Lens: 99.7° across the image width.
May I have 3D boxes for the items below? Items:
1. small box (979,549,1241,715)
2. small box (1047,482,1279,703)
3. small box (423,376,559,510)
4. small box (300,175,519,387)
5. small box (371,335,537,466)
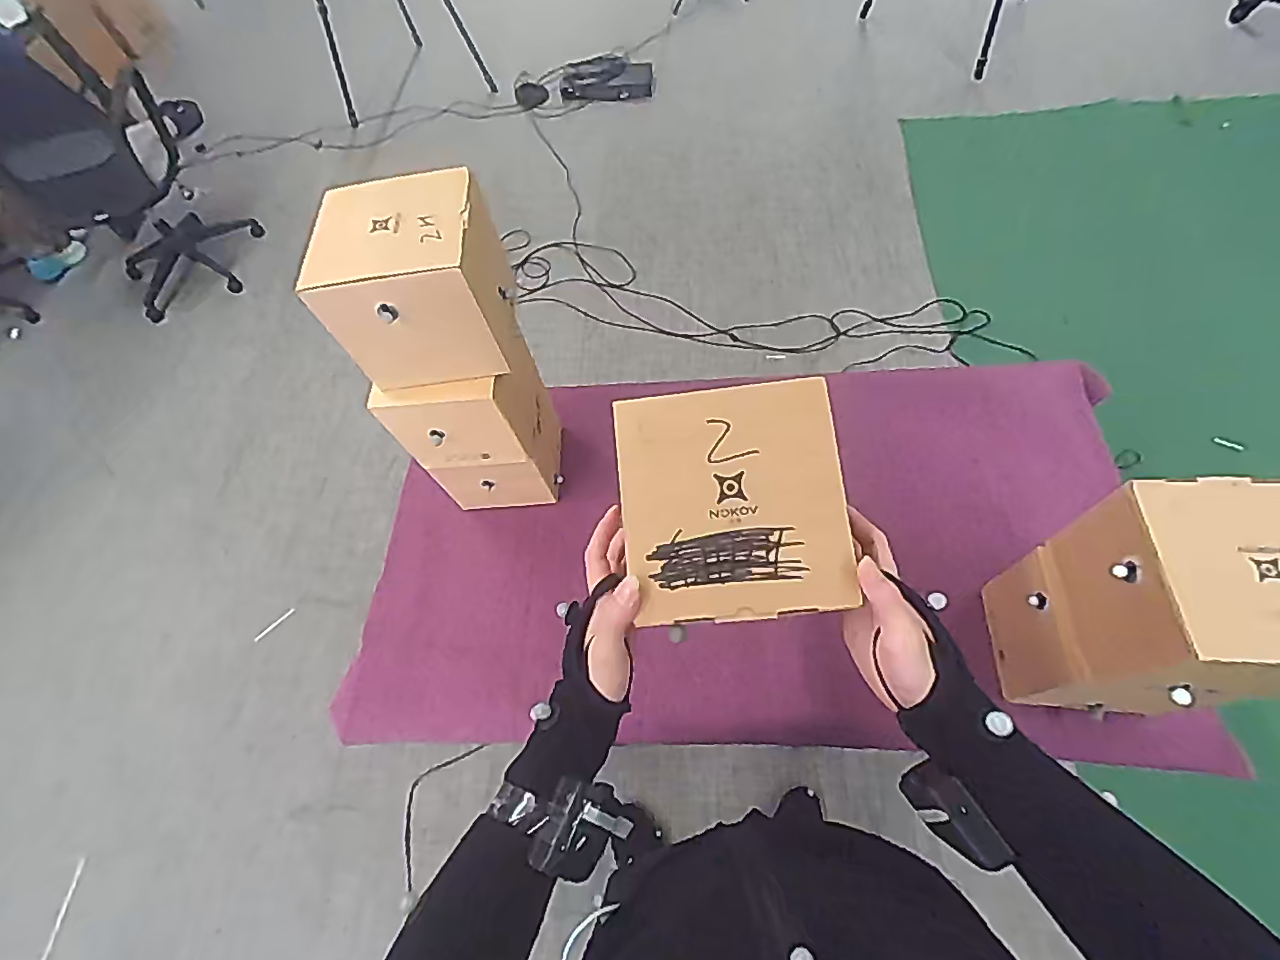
[{"bbox_3d":[0.576,0.200,0.694,0.179,0.176,0.168,2,61,8],"label":"small box"},{"bbox_3d":[0.561,0.119,0.553,0.168,0.176,0.179,1,62,10],"label":"small box"},{"bbox_3d":[-0.242,-0.058,0.931,0.179,0.176,0.168,-5,62,5],"label":"small box"},{"bbox_3d":[-0.259,-0.229,0.653,0.179,0.176,0.168,-6,62,3],"label":"small box"},{"bbox_3d":[-0.254,-0.129,0.786,0.168,0.176,0.179,-4,61,5],"label":"small box"}]
